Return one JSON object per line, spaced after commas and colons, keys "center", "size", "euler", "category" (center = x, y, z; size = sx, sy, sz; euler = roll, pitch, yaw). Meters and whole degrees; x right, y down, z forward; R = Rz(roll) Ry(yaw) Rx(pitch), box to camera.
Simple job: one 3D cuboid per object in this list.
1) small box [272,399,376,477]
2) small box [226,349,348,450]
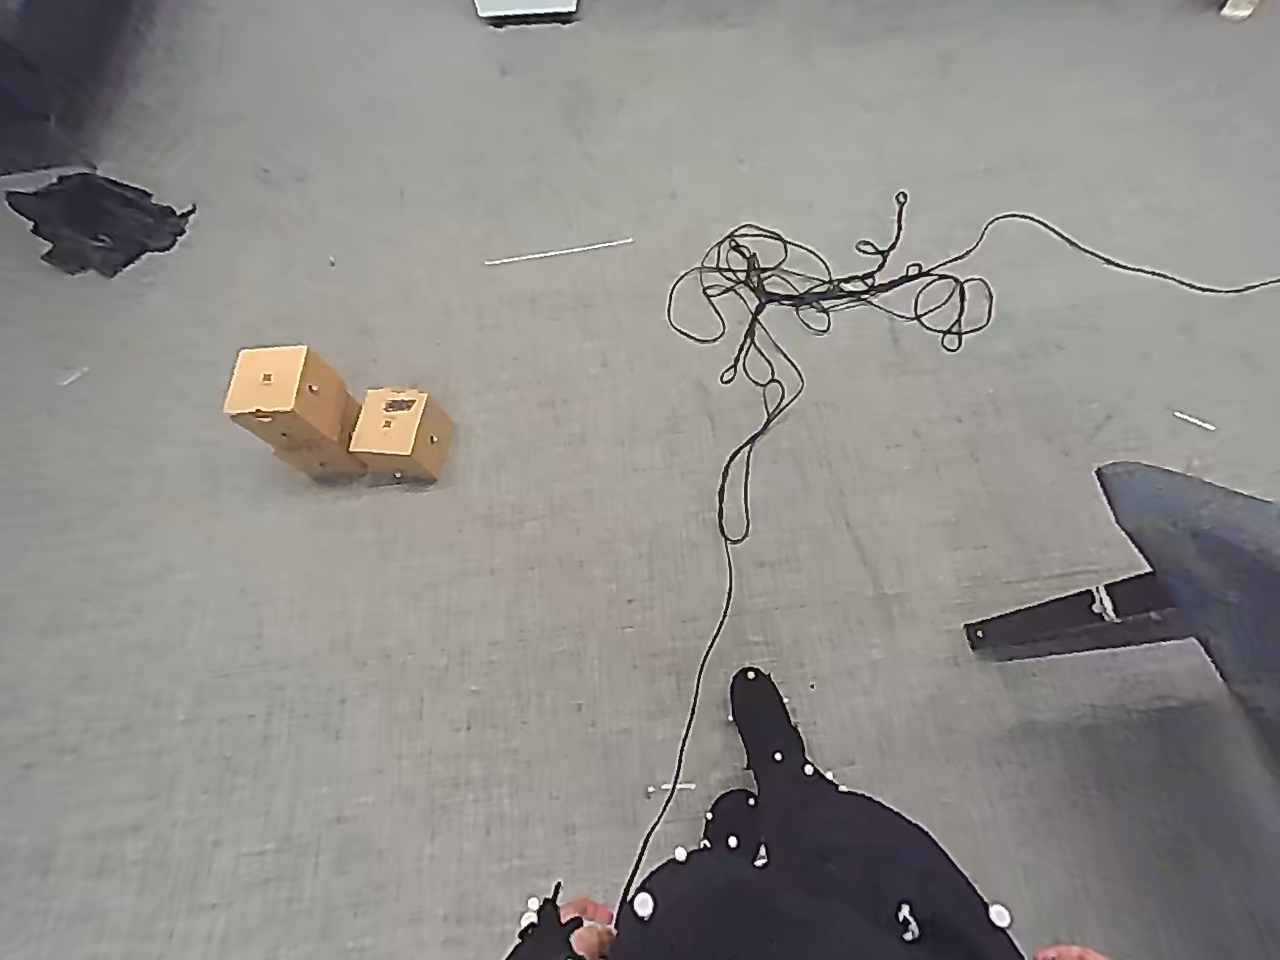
{"center": [-0.832, -0.113, 1.443], "size": [0.168, 0.176, 0.179], "euler": [-4, 68, 3], "category": "small box"}
{"center": [-0.833, -0.190, 1.298], "size": [0.168, 0.176, 0.179], "euler": [-4, 67, 3], "category": "small box"}
